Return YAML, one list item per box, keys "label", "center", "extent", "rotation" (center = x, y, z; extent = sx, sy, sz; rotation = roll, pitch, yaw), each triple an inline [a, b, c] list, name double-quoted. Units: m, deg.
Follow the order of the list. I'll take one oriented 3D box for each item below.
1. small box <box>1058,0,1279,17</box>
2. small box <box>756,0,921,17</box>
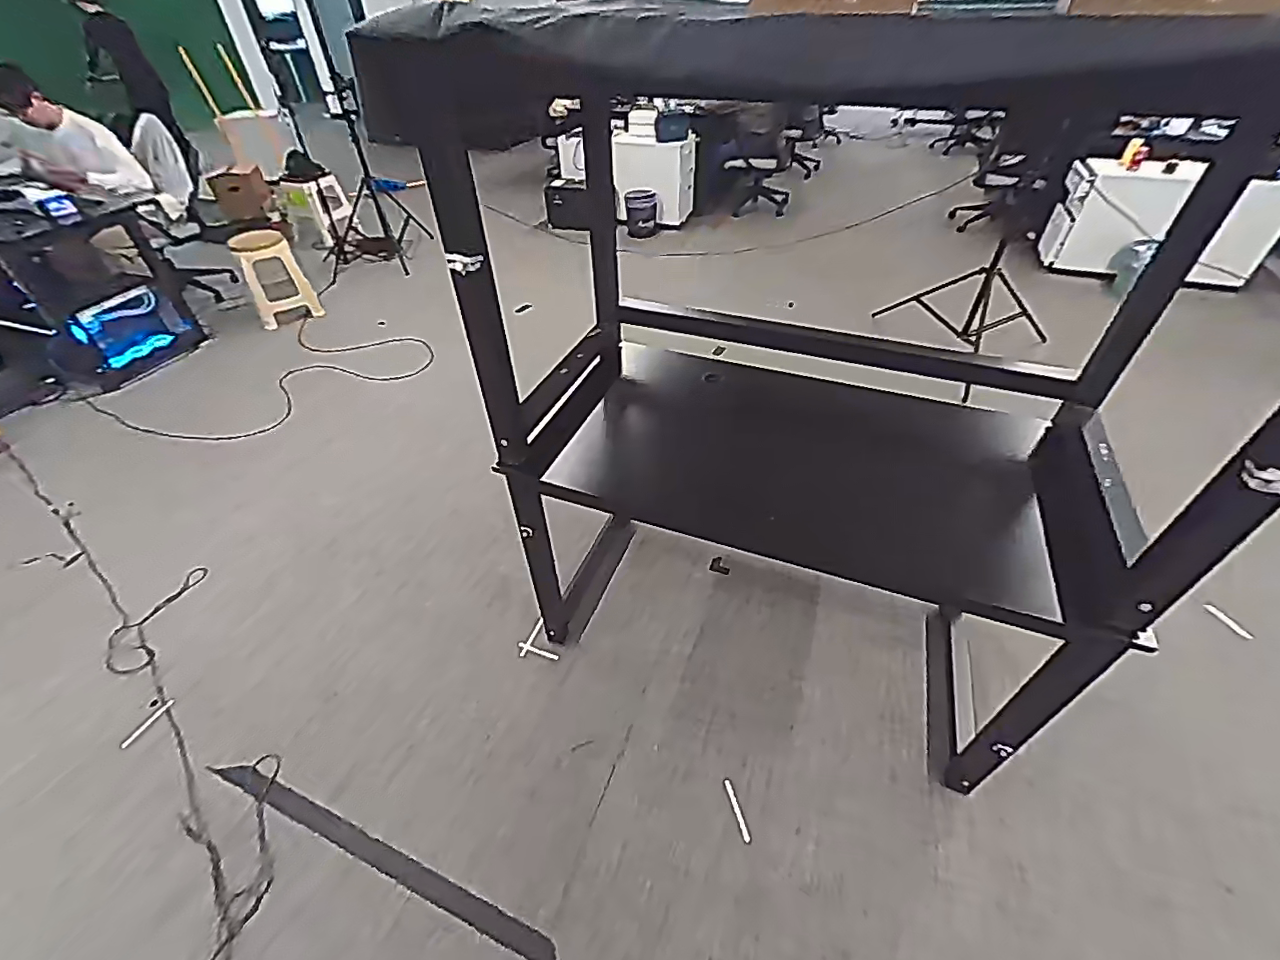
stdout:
- label: "small box"
  center: [0.503, -0.522, 0.474]
  extent: [0.168, 0.176, 0.179]
  rotation: [17, 44, 20]
- label: "small box"
  center: [0.224, -0.593, 0.558]
  extent: [0.168, 0.176, 0.179]
  rotation: [14, 43, 17]
